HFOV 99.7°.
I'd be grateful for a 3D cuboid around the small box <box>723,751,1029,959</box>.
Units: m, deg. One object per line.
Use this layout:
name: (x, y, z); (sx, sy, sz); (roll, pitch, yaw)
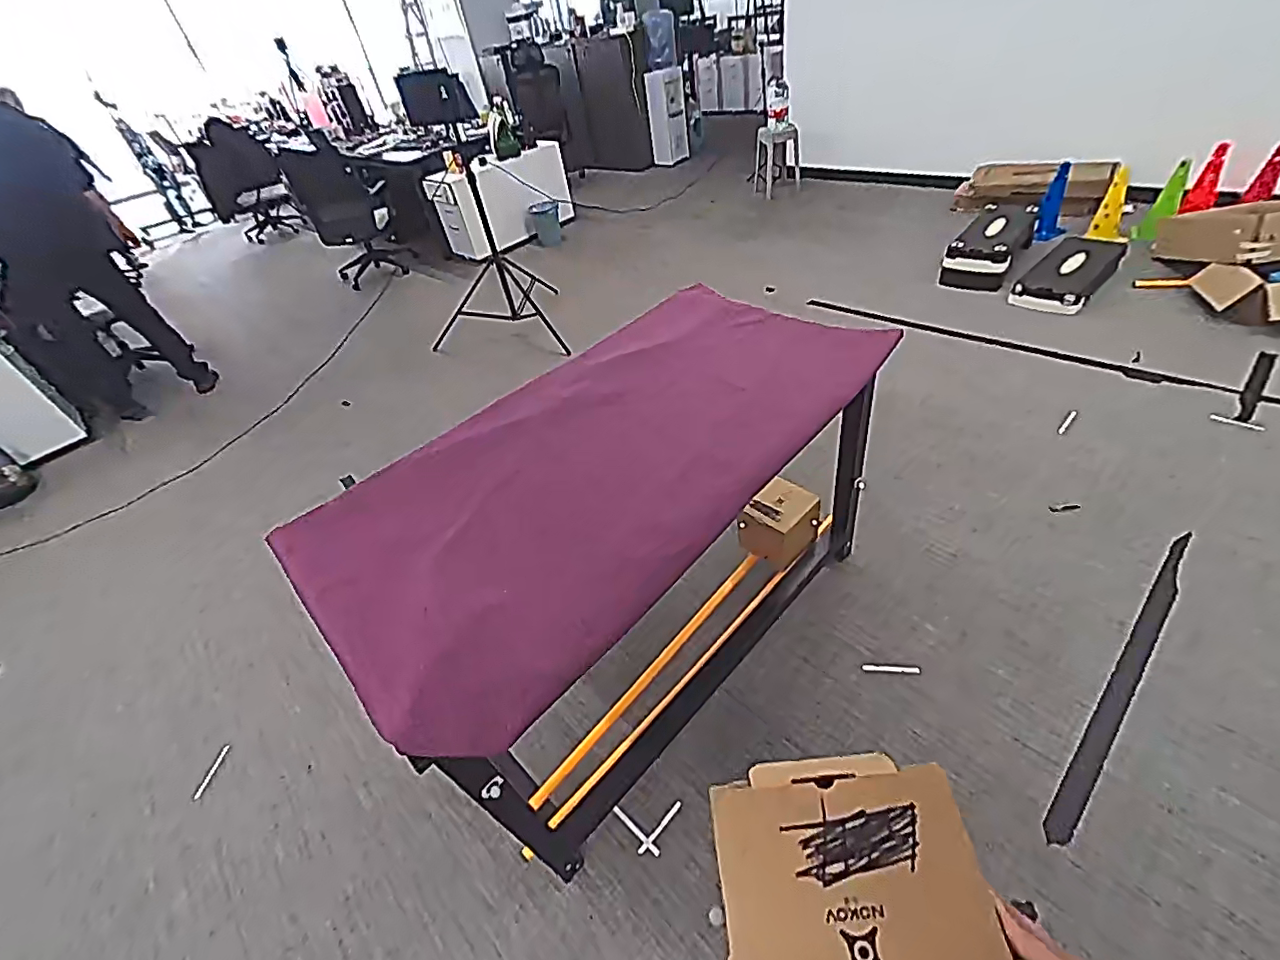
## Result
small box: (0.155, 0.316, 0.395); (0.168, 0.176, 0.179); (-9, 53, 6)
